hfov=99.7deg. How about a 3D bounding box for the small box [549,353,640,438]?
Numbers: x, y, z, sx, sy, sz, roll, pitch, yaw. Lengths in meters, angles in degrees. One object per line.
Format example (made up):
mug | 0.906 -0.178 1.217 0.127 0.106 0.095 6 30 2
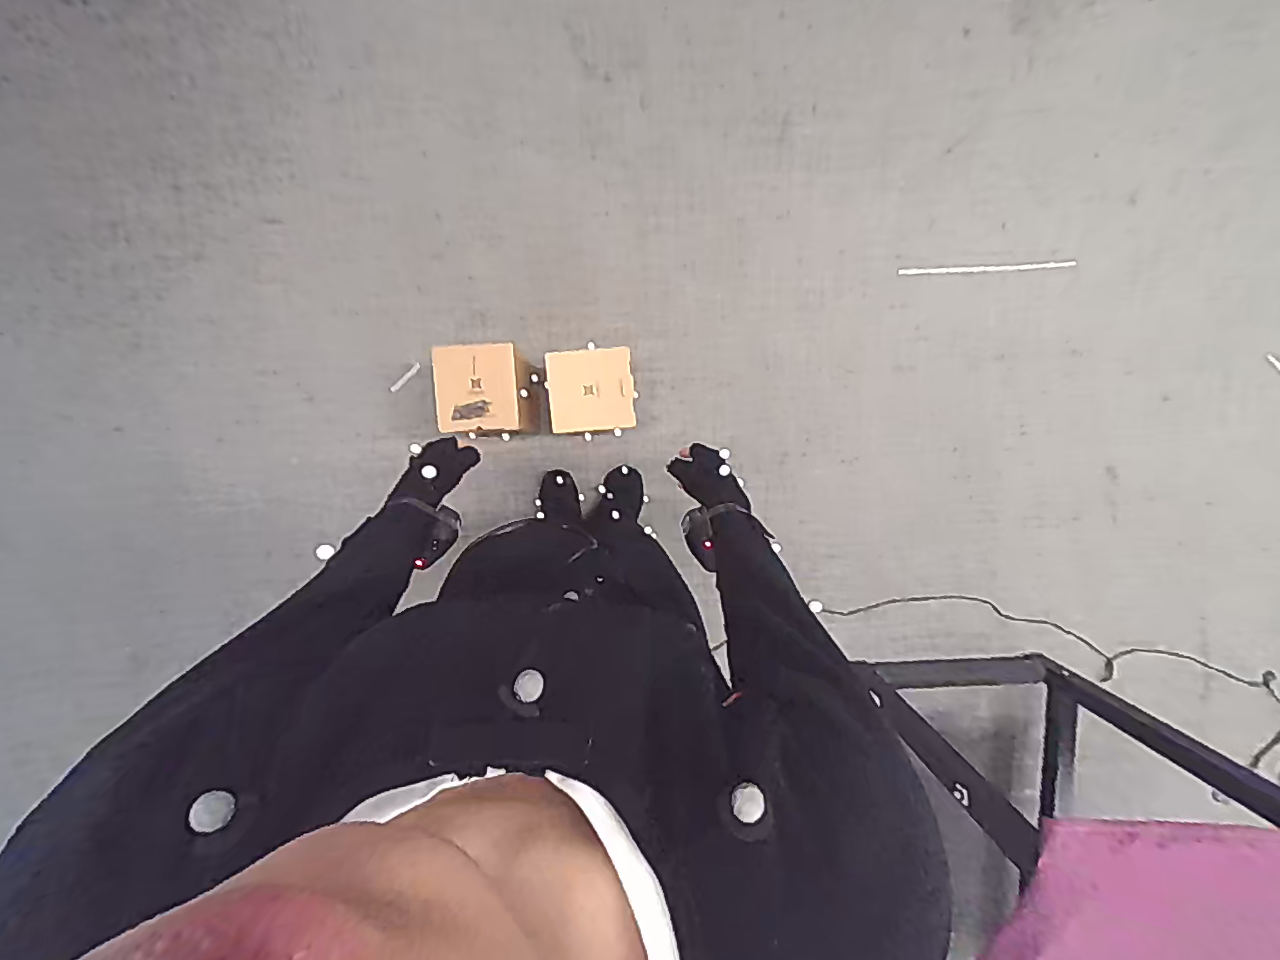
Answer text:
small box | -0.095 -0.179 1.185 0.179 0.176 0.168 -6 96 -2
